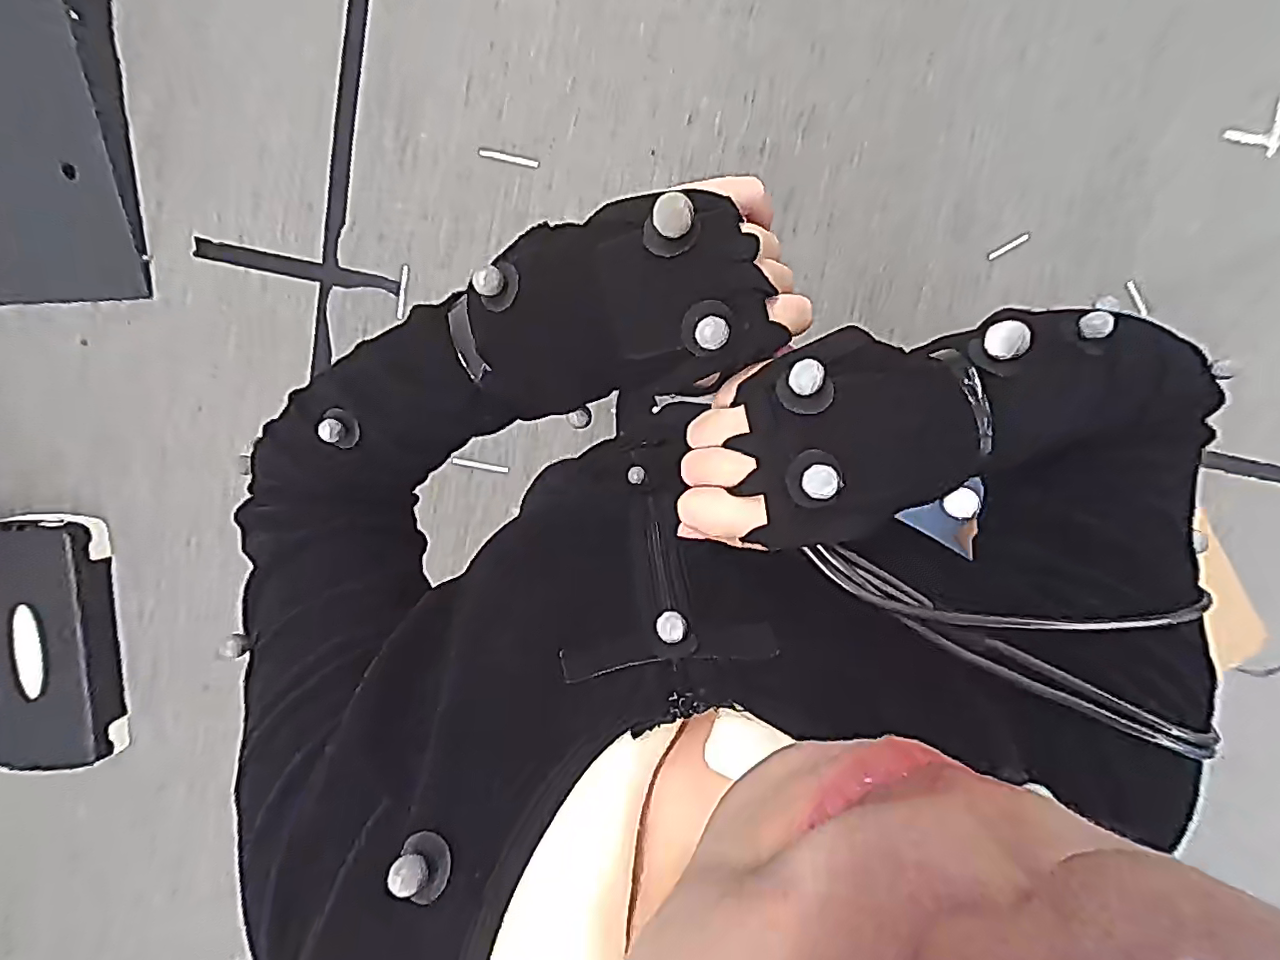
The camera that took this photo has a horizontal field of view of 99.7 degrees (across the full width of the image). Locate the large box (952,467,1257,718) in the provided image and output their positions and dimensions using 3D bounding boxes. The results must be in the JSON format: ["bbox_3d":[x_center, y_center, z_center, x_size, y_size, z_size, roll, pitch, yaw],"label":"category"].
[{"bbox_3d":[1.015,0.226,1.226,0.320,0.320,0.408,-33,97,2],"label":"large box"}]
